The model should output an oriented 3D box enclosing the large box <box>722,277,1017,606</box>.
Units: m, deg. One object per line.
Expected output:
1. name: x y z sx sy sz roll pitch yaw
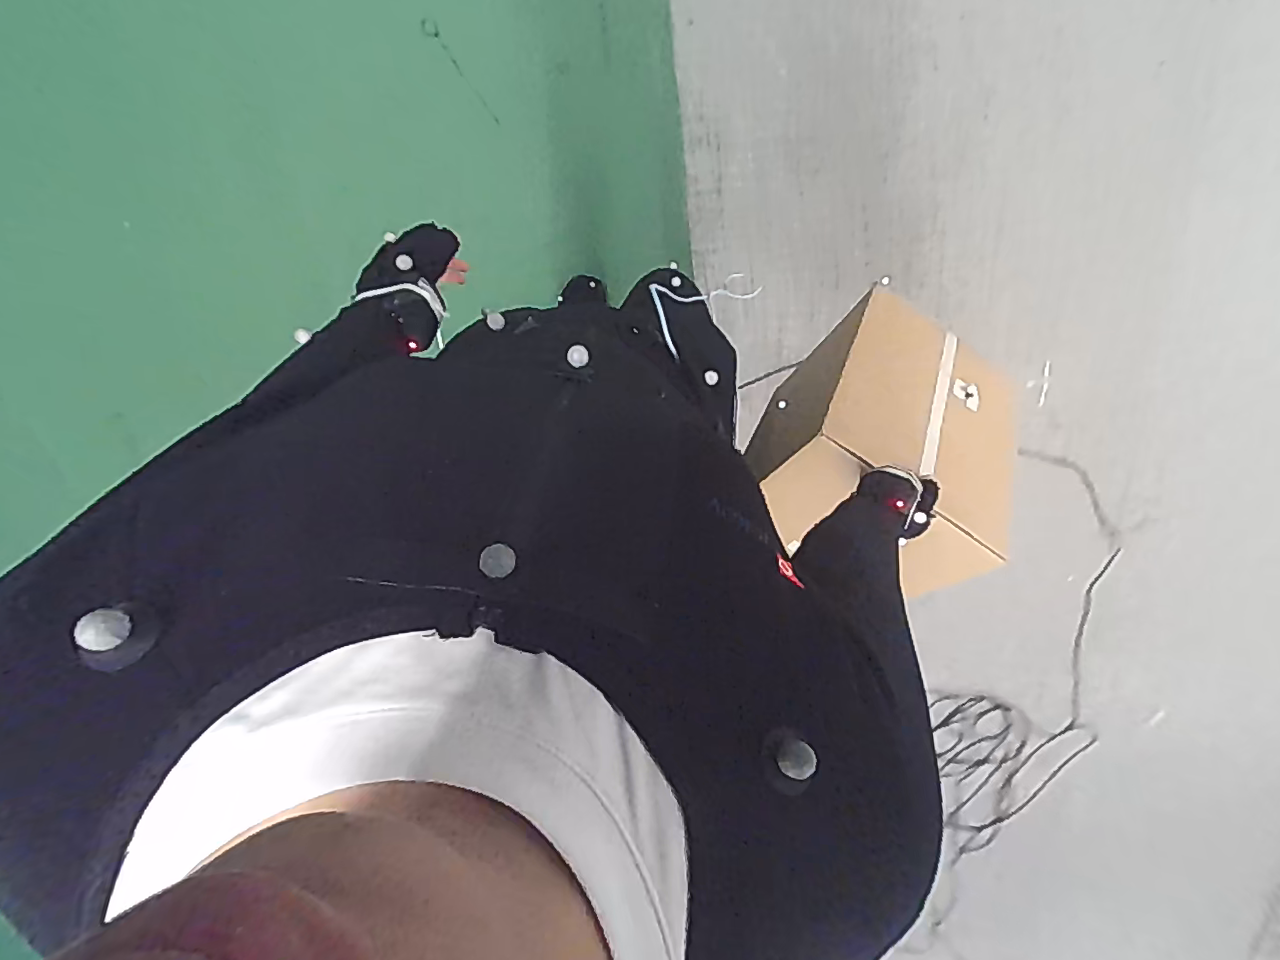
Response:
1. large box: 0.395 -0.058 0.940 0.320 0.408 0.320 34 145 -4
